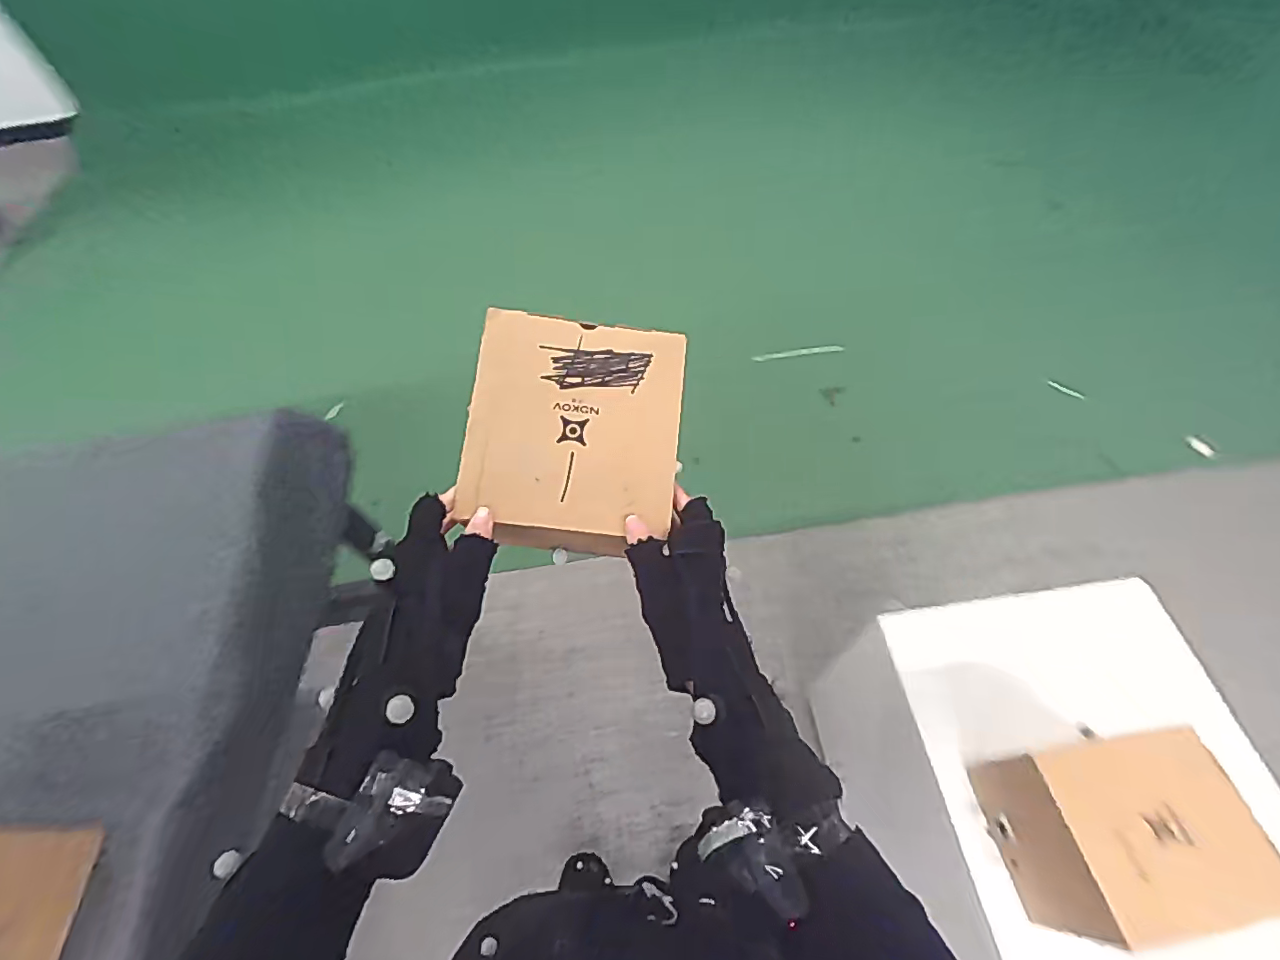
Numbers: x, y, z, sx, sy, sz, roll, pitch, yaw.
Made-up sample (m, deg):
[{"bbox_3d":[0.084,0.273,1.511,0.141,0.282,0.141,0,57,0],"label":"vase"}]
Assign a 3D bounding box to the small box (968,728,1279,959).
[{"bbox_3d":[0.496,0.374,0.570,0.179,0.176,0.168,-11,57,0],"label":"small box"}]
